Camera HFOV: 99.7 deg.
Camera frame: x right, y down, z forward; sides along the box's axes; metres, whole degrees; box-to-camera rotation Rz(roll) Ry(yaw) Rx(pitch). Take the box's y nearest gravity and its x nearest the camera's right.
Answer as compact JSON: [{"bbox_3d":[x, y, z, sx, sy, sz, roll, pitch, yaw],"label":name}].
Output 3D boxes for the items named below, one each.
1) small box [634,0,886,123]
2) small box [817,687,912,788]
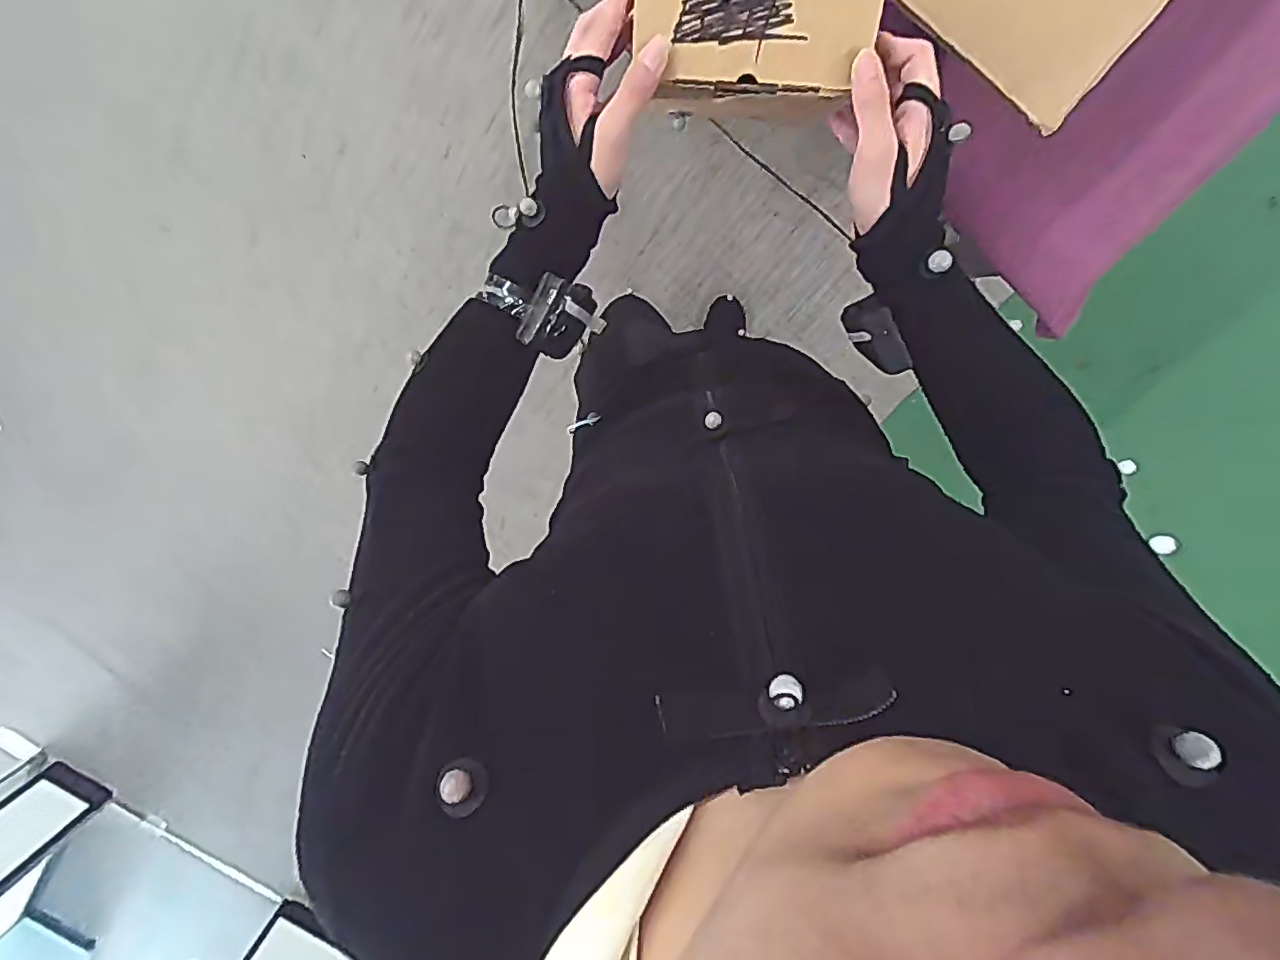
[{"bbox_3d":[0.090,-0.386,0.409,0.168,0.176,0.179,6,117,3],"label":"small box"},{"bbox_3d":[0.653,0.753,1.594,0.179,0.176,0.168,40,108,-7],"label":"small box"}]
